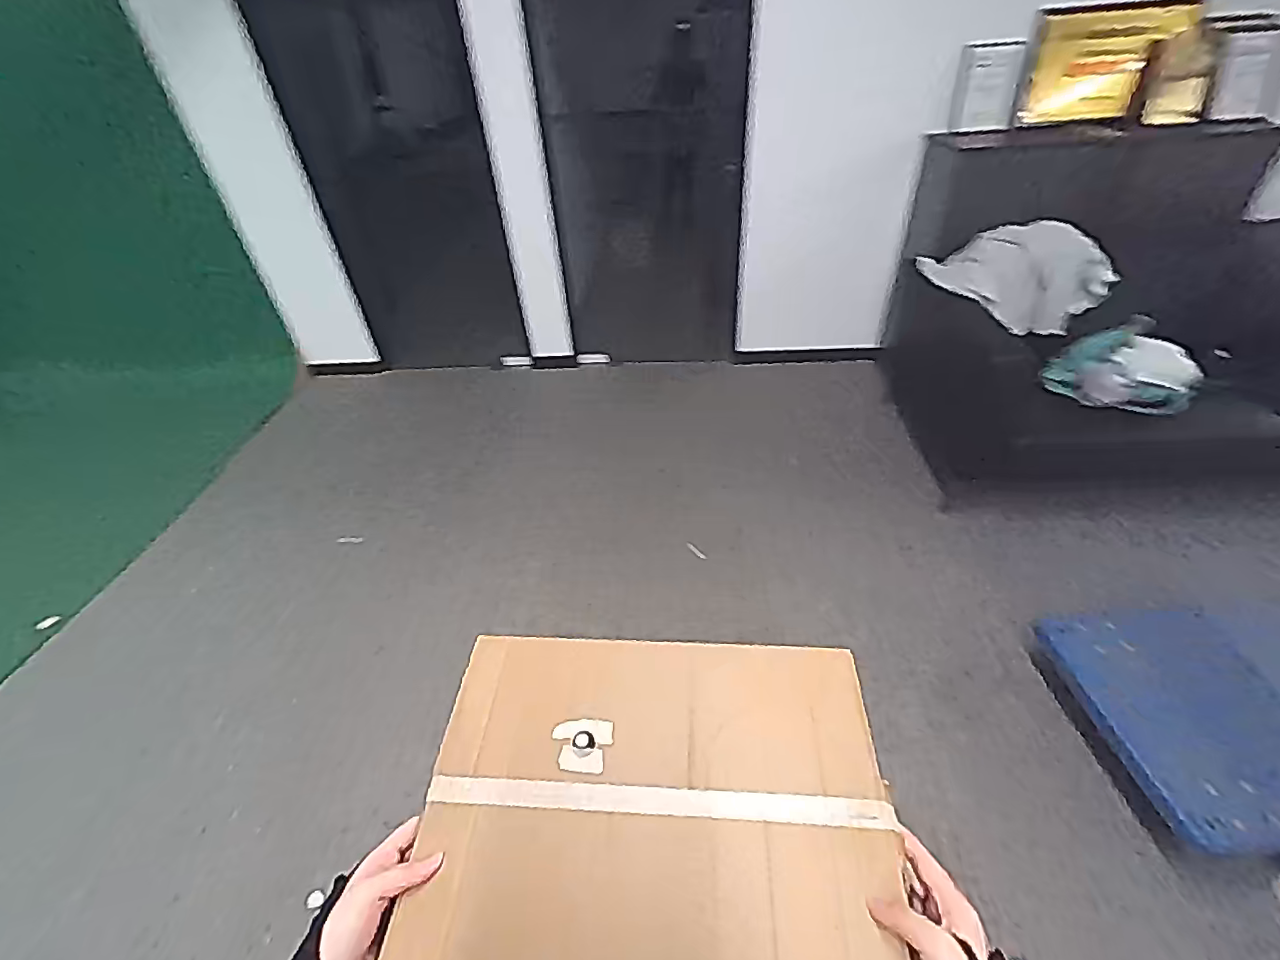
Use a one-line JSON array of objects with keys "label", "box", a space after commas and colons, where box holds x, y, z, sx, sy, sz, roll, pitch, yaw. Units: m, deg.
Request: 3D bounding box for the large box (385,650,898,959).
[{"label": "large box", "box": [0.013, 0.402, 0.590, 0.408, 0.320, 0.320, -2, 44, 5]}]
